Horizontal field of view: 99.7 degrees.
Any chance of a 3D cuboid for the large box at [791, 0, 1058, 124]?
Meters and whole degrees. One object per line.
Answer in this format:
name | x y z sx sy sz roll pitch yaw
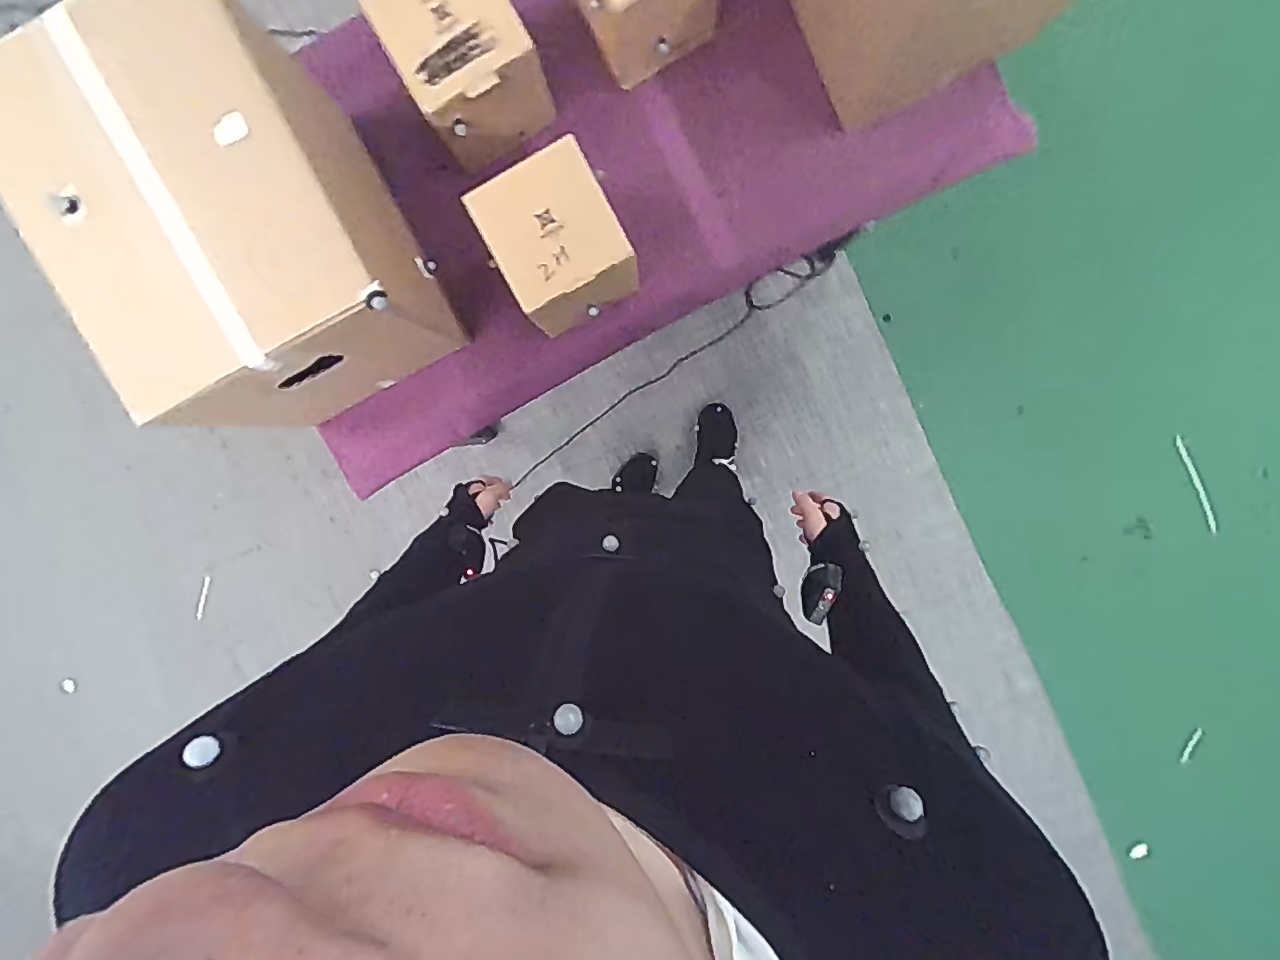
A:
large box | 0.362 -0.770 0.662 0.320 0.320 0.408 -26 95 5
